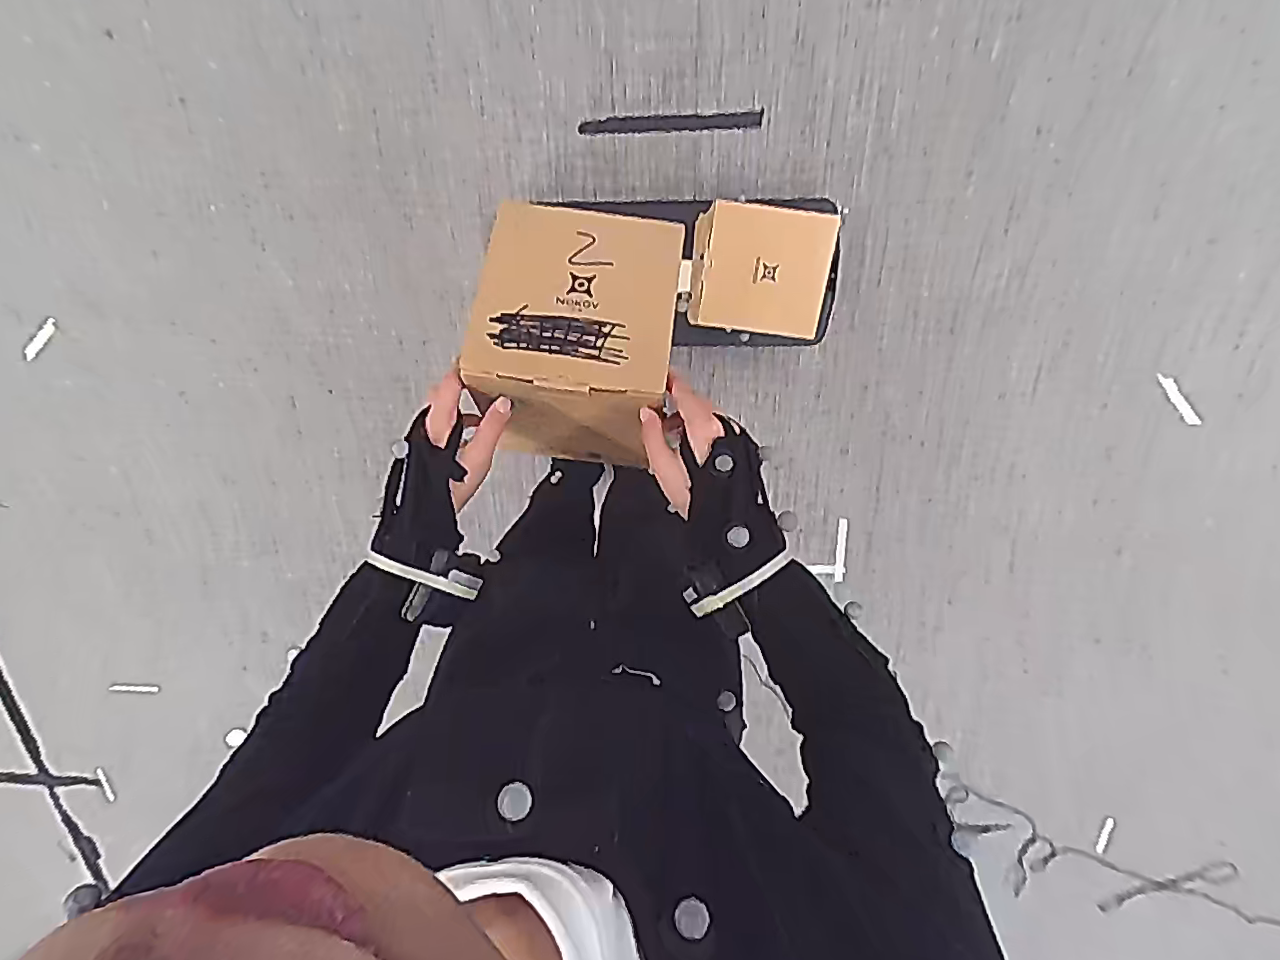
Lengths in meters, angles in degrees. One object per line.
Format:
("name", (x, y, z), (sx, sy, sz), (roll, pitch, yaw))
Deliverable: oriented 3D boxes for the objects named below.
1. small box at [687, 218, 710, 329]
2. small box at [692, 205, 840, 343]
("small box", (0.176, -0.368, 0.986), (0.168, 0.176, 0.179), (5, 109, 1))
("small box", (0.180, -0.314, 0.833), (0.179, 0.176, 0.168), (8, 110, 1))
